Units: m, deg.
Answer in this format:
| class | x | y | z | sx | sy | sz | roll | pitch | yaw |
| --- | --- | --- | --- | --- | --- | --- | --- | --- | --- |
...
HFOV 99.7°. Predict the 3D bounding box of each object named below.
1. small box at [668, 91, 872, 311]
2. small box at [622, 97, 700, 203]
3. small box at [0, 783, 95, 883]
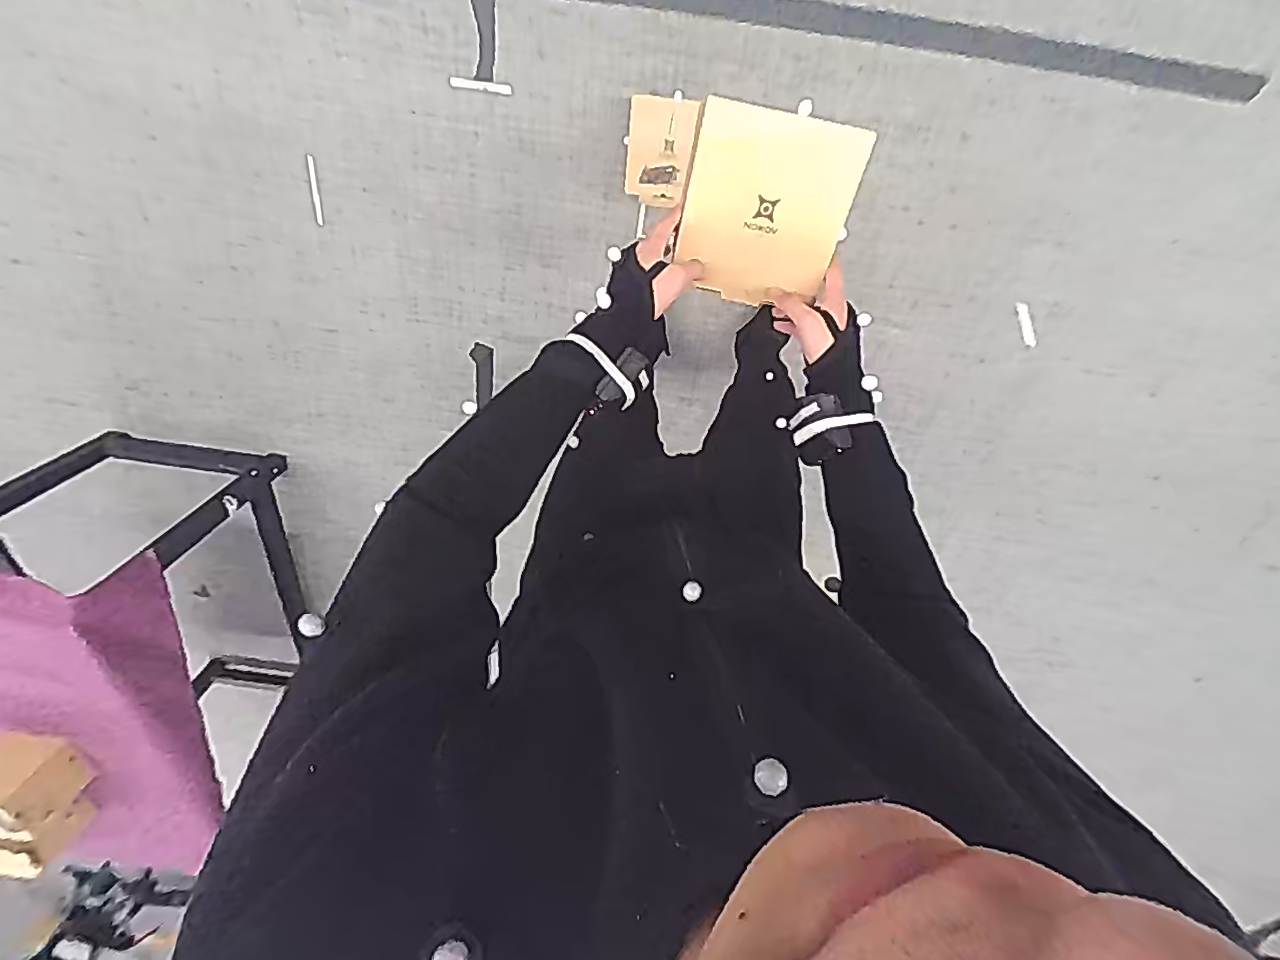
| class | x | y | z | sx | sy | sz | roll | pitch | yaw |
| --- | --- | --- | --- | --- | --- | --- | --- | --- | --- |
| small box | 0.128 | -0.316 | 0.612 | 0.168 | 0.176 | 0.179 | 10 | 124 | -3 |
| small box | 0.057 | -0.705 | 1.164 | 0.168 | 0.176 | 0.179 | 7 | 121 | 0 |
| small box | -1.663 | 0.949 | 1.463 | 0.179 | 0.176 | 0.168 | 7 | 123 | 0 |
